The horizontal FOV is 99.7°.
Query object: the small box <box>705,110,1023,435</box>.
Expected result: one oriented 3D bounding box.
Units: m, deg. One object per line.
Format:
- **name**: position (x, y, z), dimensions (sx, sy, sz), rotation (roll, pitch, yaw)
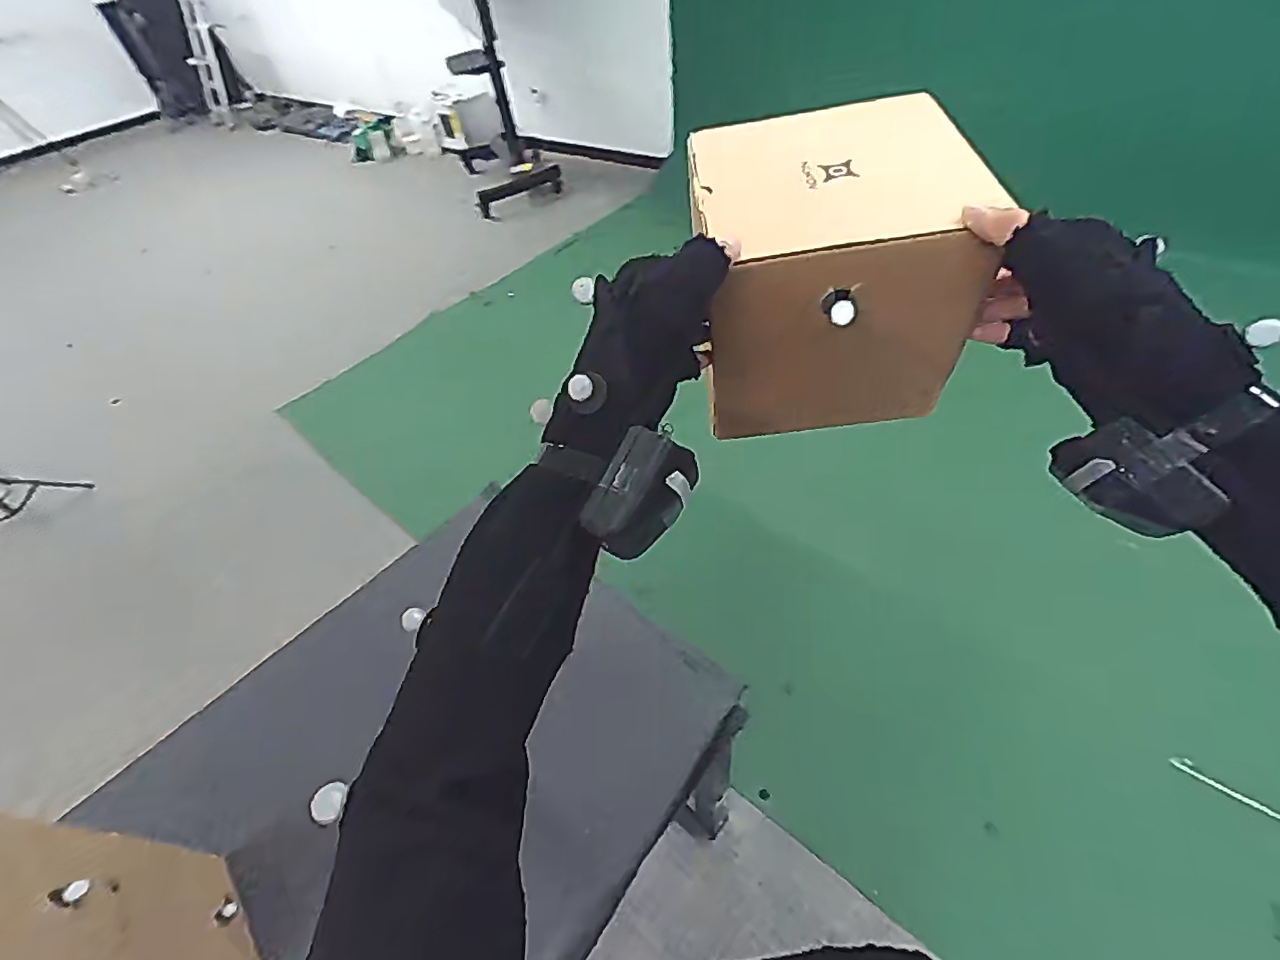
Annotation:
- **small box**: position (0.148, -0.154, 0.431), dimensions (0.179, 0.176, 0.168), rotation (-6, 55, 6)
